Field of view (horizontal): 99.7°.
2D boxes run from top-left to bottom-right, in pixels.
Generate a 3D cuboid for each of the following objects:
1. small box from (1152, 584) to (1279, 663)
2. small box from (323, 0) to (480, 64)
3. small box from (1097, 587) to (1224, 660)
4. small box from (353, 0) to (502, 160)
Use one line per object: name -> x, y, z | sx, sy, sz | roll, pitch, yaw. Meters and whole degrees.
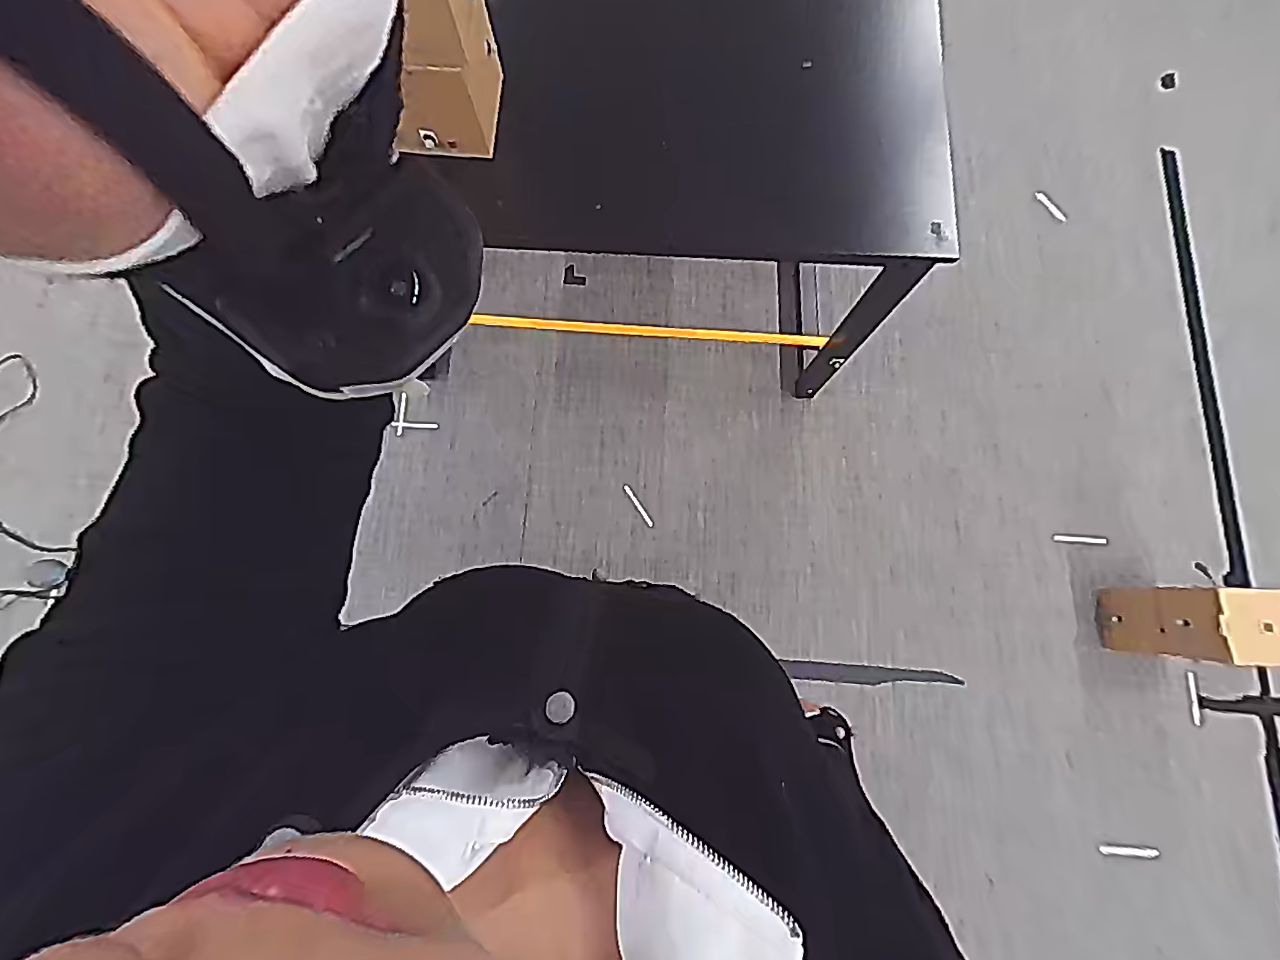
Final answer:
small box -> 1.358, 0.333, 1.267 | 0.179, 0.176, 0.168 | 3, 78, 0
small box -> -0.325, -0.689, 0.709 | 0.179, 0.176, 0.168 | 2, 78, 0
small box -> 1.366, 0.373, 1.426 | 0.179, 0.176, 0.168 | 4, 78, 0
small box -> -0.327, -0.658, 0.870 | 0.168, 0.176, 0.179 | 3, 79, 1
